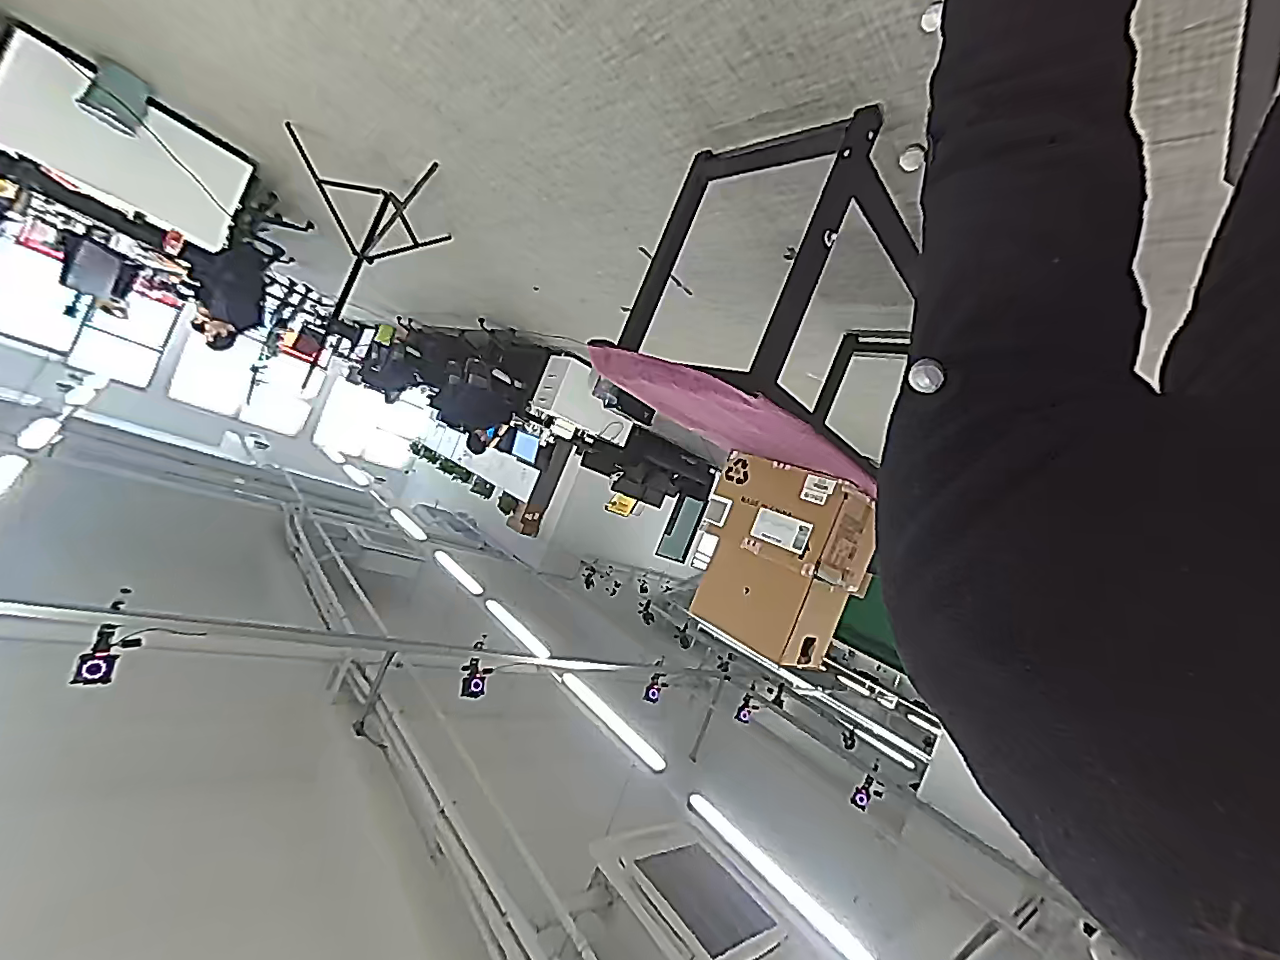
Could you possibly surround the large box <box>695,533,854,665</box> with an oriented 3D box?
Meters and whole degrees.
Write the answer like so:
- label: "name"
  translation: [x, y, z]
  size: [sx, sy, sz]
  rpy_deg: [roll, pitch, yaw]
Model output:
- label: "large box"
  translation: [0.477, 0.417, 1.936]
  size: [0.320, 0.320, 0.408]
  rpy_deg: [21, 179, -43]
